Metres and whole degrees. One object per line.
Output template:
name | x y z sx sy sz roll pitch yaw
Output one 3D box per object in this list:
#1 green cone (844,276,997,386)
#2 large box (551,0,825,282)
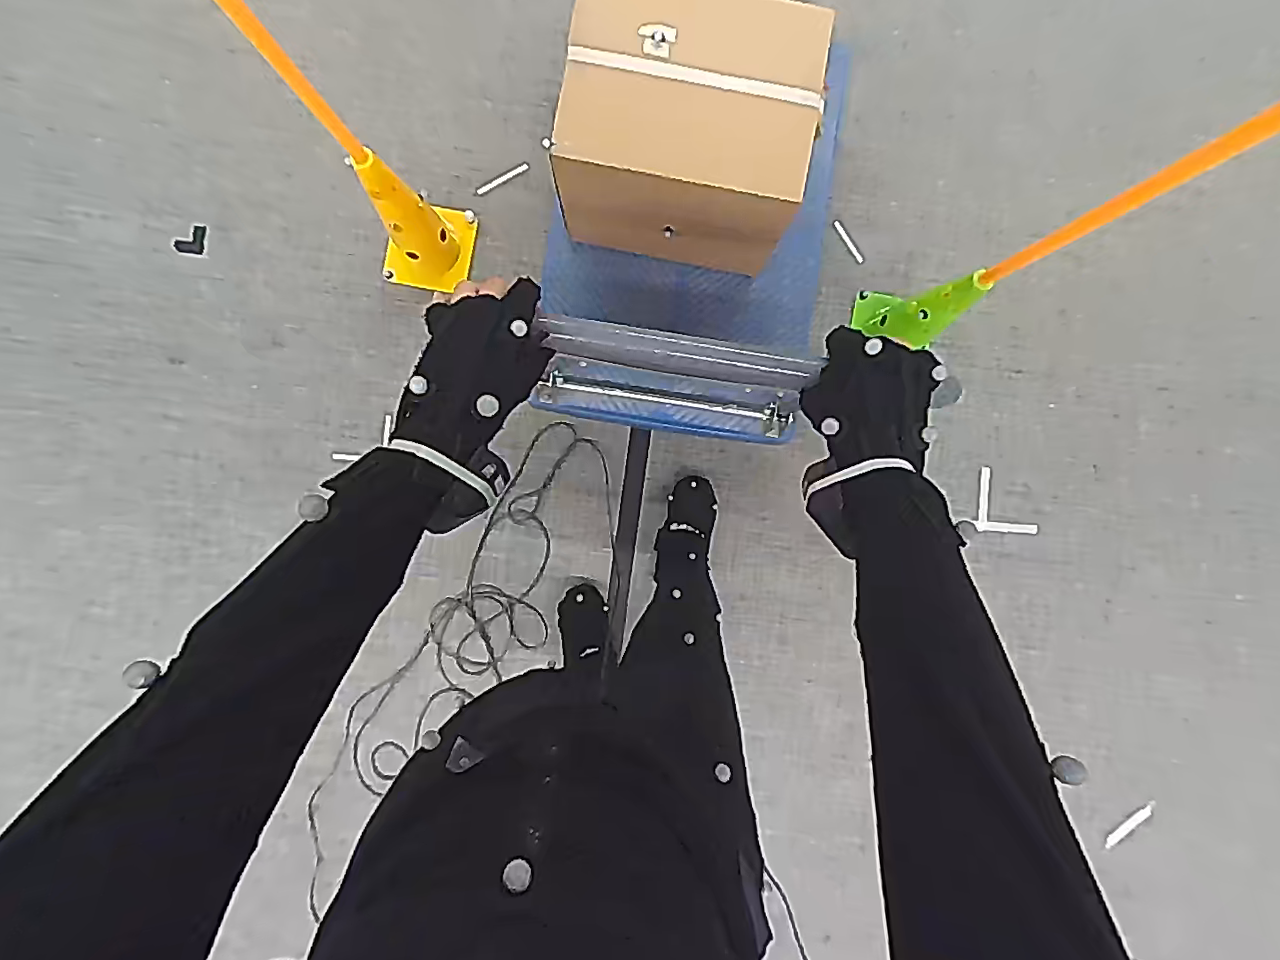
green cone | 0.619 -0.346 1.162 0.202 0.368 0.200 11 89 -2
large box | 0.079 -0.601 1.014 0.408 0.320 0.320 11 89 0
